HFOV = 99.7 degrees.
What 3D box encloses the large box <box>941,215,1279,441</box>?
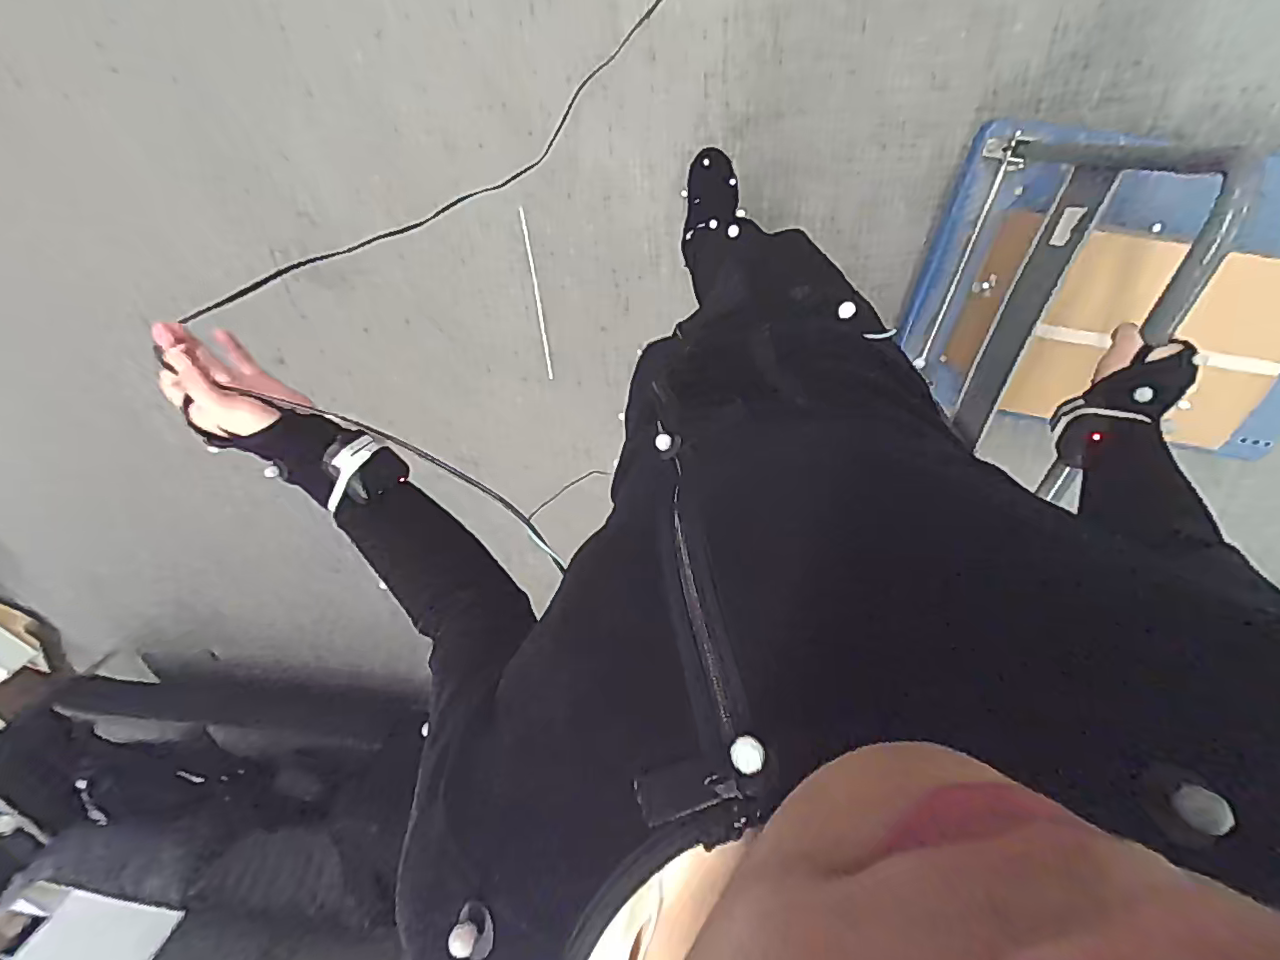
[{"bbox_3d":[0.883,-0.308,1.042,0.408,0.320,0.320,12,123,5],"label":"large box"}]
